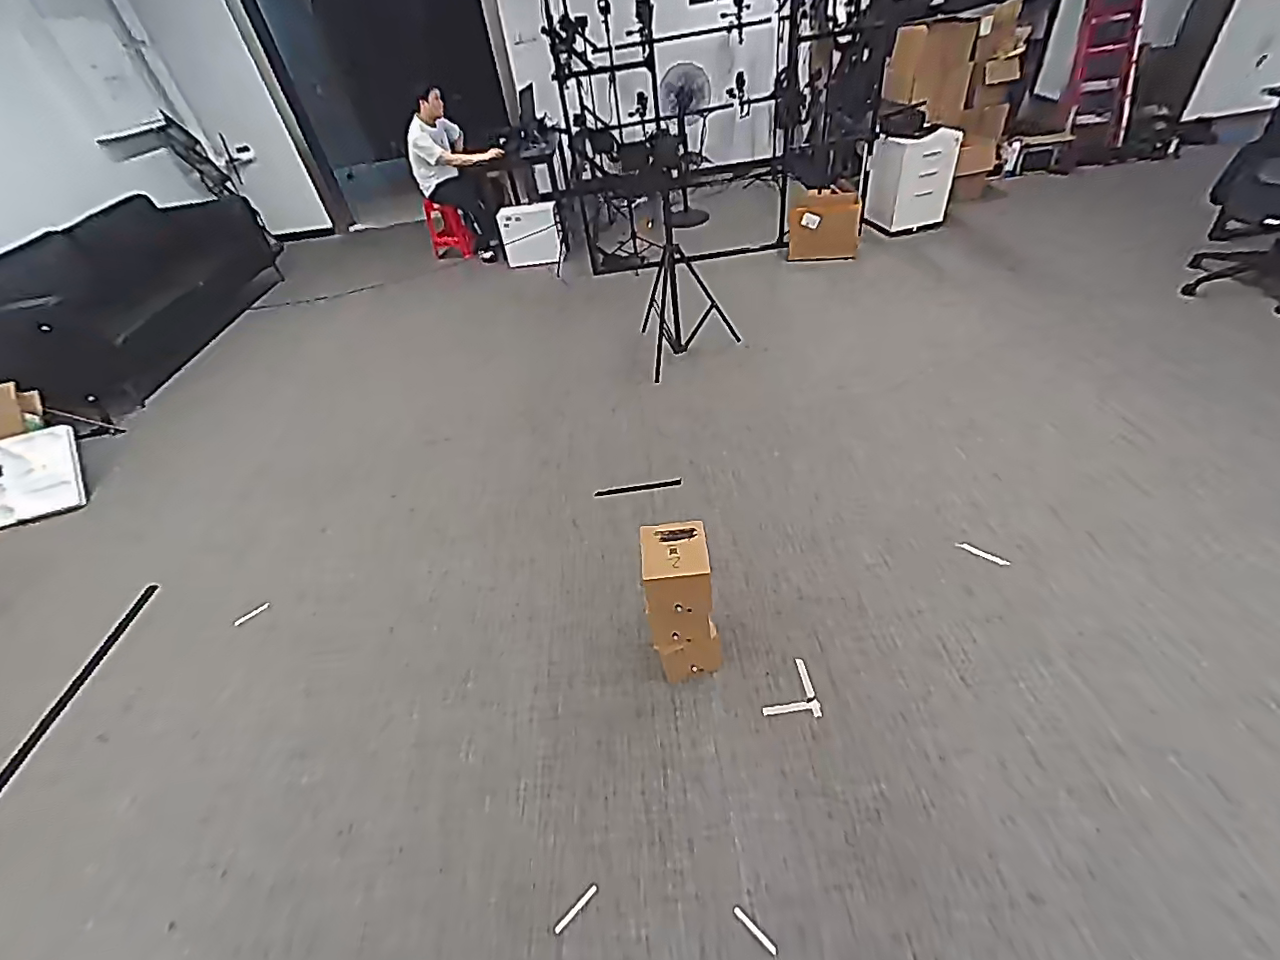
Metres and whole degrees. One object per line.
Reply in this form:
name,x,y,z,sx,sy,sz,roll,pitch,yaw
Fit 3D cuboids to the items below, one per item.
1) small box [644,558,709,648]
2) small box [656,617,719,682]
small box,0.102,0.344,1.517,0.168,0.176,0.179,-7,42,3
small box,0.129,0.469,1.619,0.168,0.176,0.179,-16,42,-6
